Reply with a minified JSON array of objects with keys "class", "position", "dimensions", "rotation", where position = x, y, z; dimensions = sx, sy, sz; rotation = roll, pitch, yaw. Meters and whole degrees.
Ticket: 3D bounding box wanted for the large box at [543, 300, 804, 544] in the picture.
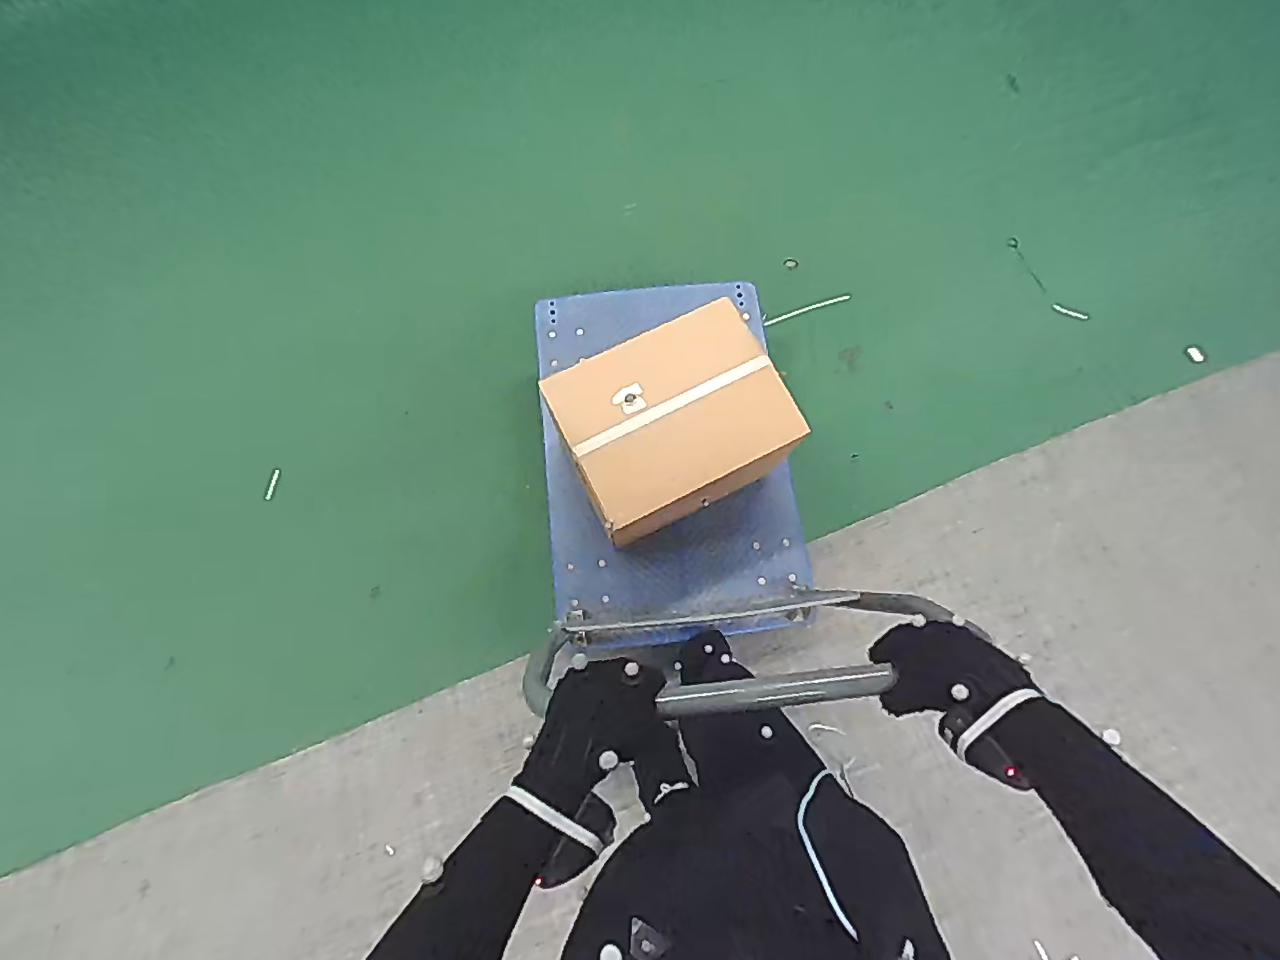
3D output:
[{"class":"large box","position":[0.061,-0.100,1.144],"dimensions":[0.408,0.320,0.320],"rotation":[-27,78,-6]}]
